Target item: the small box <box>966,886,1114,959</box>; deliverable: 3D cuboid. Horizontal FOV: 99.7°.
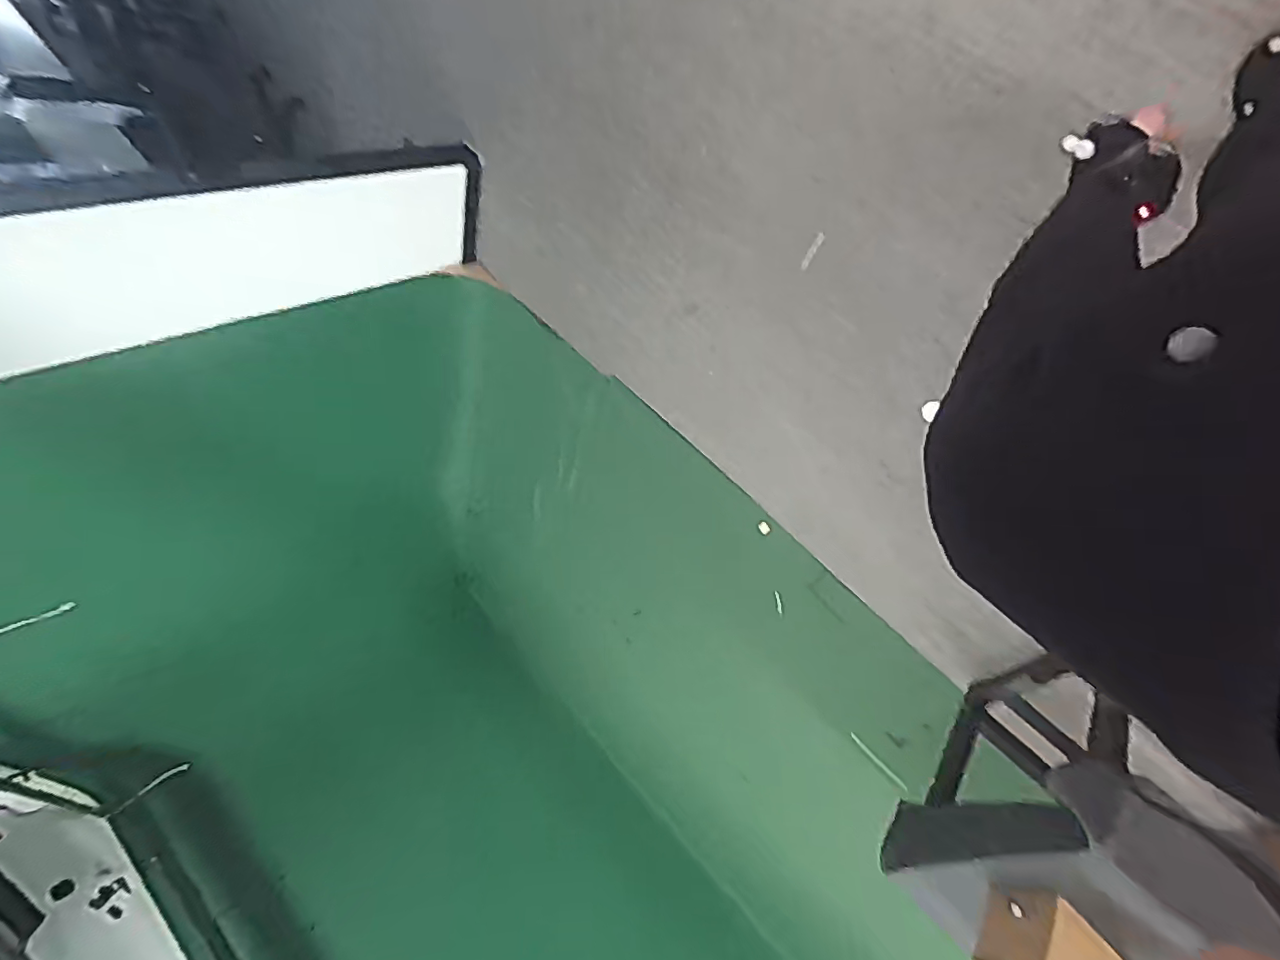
[{"bbox_3d":[0.804,0.961,1.077,0.179,0.176,0.168,47,141,10],"label":"small box"}]
